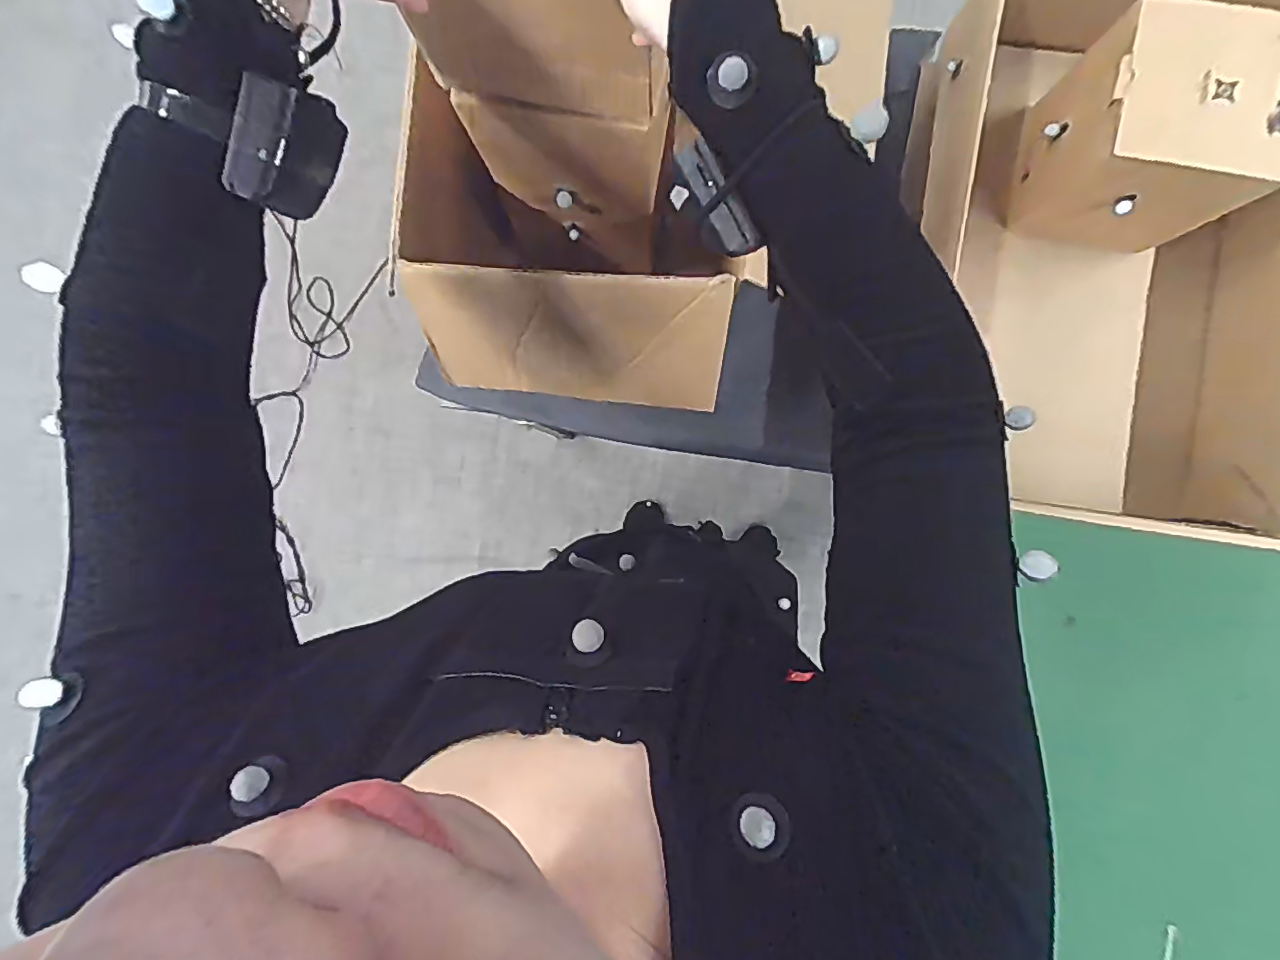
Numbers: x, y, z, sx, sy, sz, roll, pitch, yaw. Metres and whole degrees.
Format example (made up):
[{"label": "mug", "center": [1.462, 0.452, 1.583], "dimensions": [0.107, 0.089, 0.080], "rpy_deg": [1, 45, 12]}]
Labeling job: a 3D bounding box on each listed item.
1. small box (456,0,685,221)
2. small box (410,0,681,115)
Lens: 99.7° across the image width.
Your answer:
[{"label": "small box", "center": [-0.053, -0.380, 0.514], "dimensions": [0.168, 0.176, 0.179], "rpy_deg": [10, 93, 2]}, {"label": "small box", "center": [-0.059, -0.377, 0.348], "dimensions": [0.179, 0.176, 0.168], "rpy_deg": [11, 90, 1]}]
